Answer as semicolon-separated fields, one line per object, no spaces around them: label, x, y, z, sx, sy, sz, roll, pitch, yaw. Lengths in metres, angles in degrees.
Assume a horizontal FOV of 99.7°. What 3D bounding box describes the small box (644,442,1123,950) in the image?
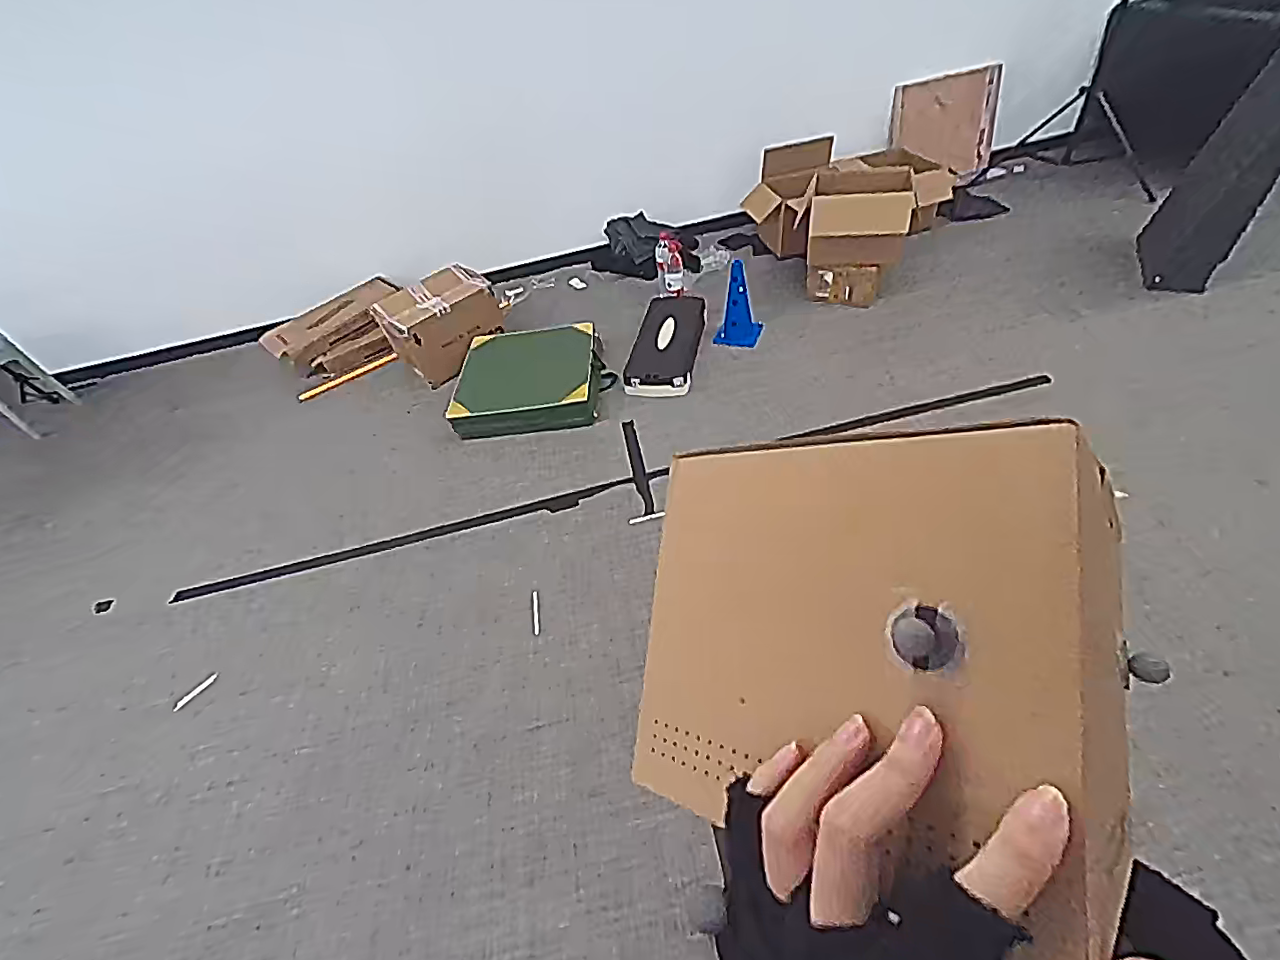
small box;0.123;0.088;0.275;0.179;0.168;0.176;-4;74;45
